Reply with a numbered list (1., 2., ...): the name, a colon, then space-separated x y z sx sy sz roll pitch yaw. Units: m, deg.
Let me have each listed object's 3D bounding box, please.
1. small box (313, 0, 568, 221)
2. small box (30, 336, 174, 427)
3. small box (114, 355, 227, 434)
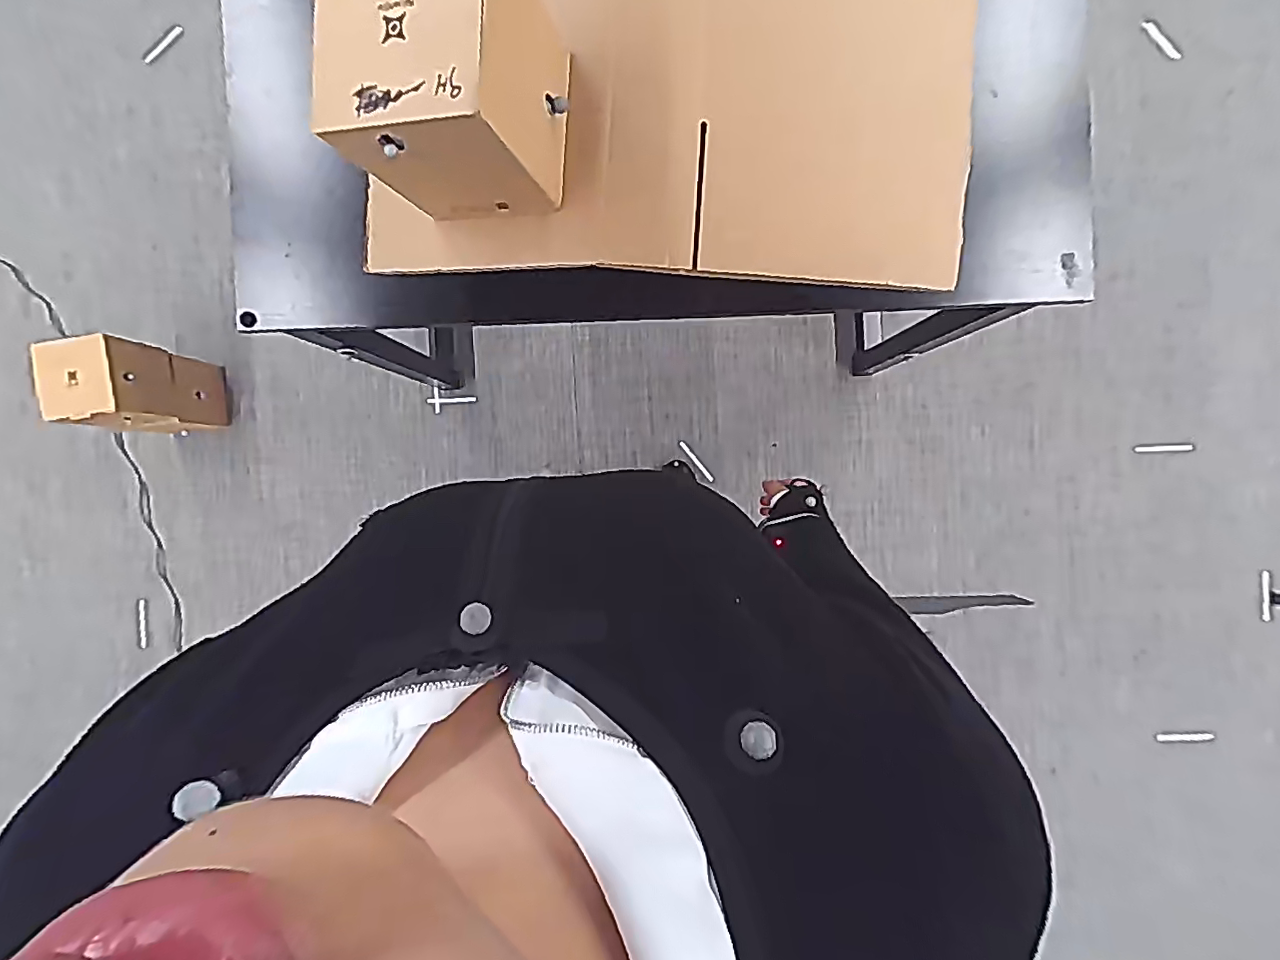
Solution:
1. small box: -0.178 -0.380 0.525 0.168 0.176 0.179 4 91 15
2. small box: -1.240 -0.221 1.262 0.168 0.176 0.179 -9 90 0
3. small box: -1.237 -0.219 1.425 0.168 0.176 0.179 -6 92 1
